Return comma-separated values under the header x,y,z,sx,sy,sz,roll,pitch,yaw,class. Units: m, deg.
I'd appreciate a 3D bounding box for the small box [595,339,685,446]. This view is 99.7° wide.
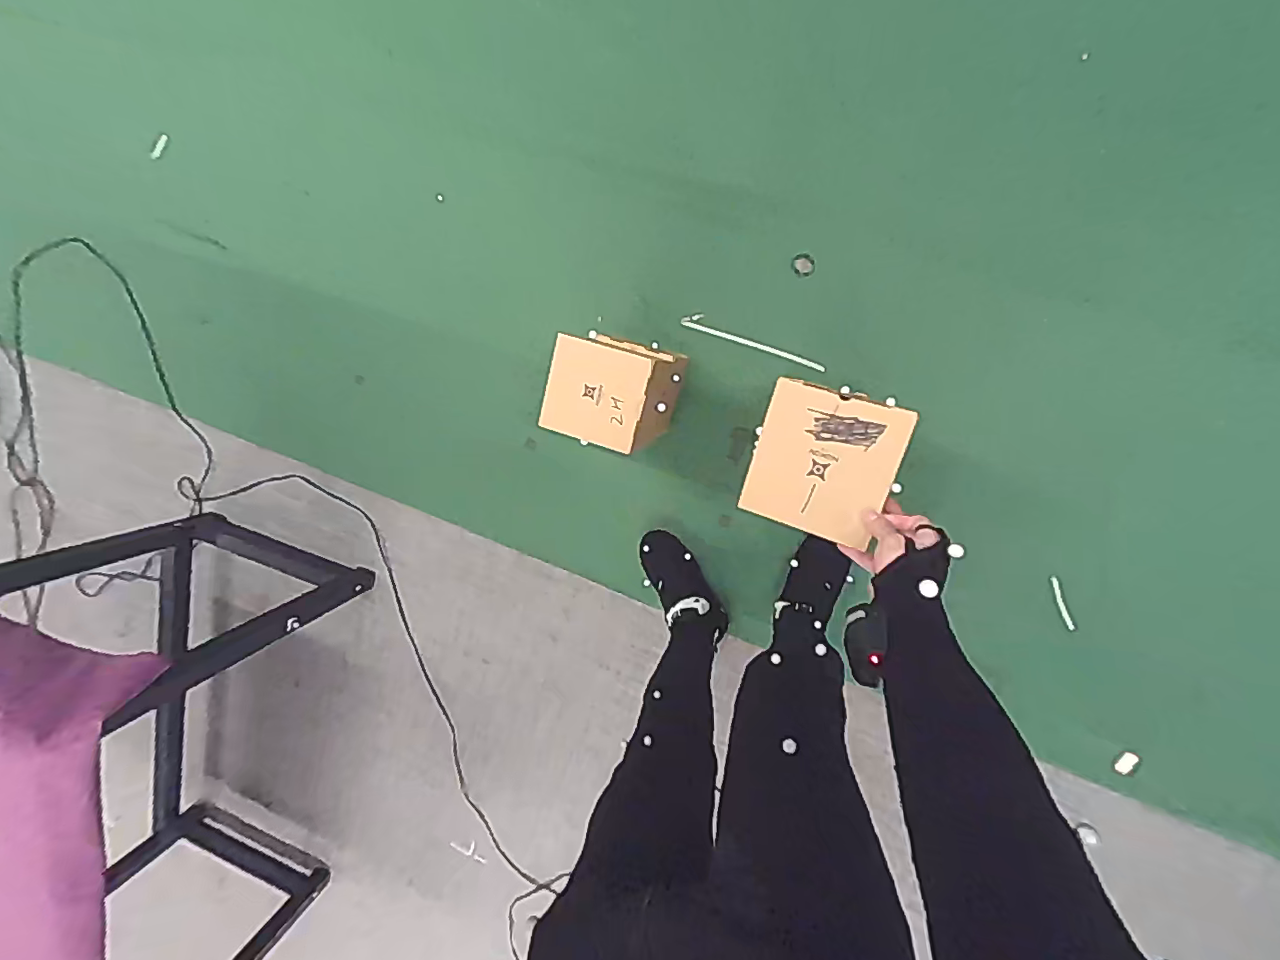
x,y,z,sx,sy,sz,roll,pitch,yaw,class
-0.013,-0.185,1.142,0.168,0.176,0.179,18,104,11,small box

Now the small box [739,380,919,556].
x,y,z,sx,sy,sz,roll,pitch,yaw,class
0.251,-0.023,0.723,0.168,0.176,0.179,20,103,21,small box

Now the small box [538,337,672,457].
x,y,z,sx,sy,sz,roll,pitch,yaw,class
-0.057,-0.152,0.987,0.179,0.176,0.168,18,105,11,small box
